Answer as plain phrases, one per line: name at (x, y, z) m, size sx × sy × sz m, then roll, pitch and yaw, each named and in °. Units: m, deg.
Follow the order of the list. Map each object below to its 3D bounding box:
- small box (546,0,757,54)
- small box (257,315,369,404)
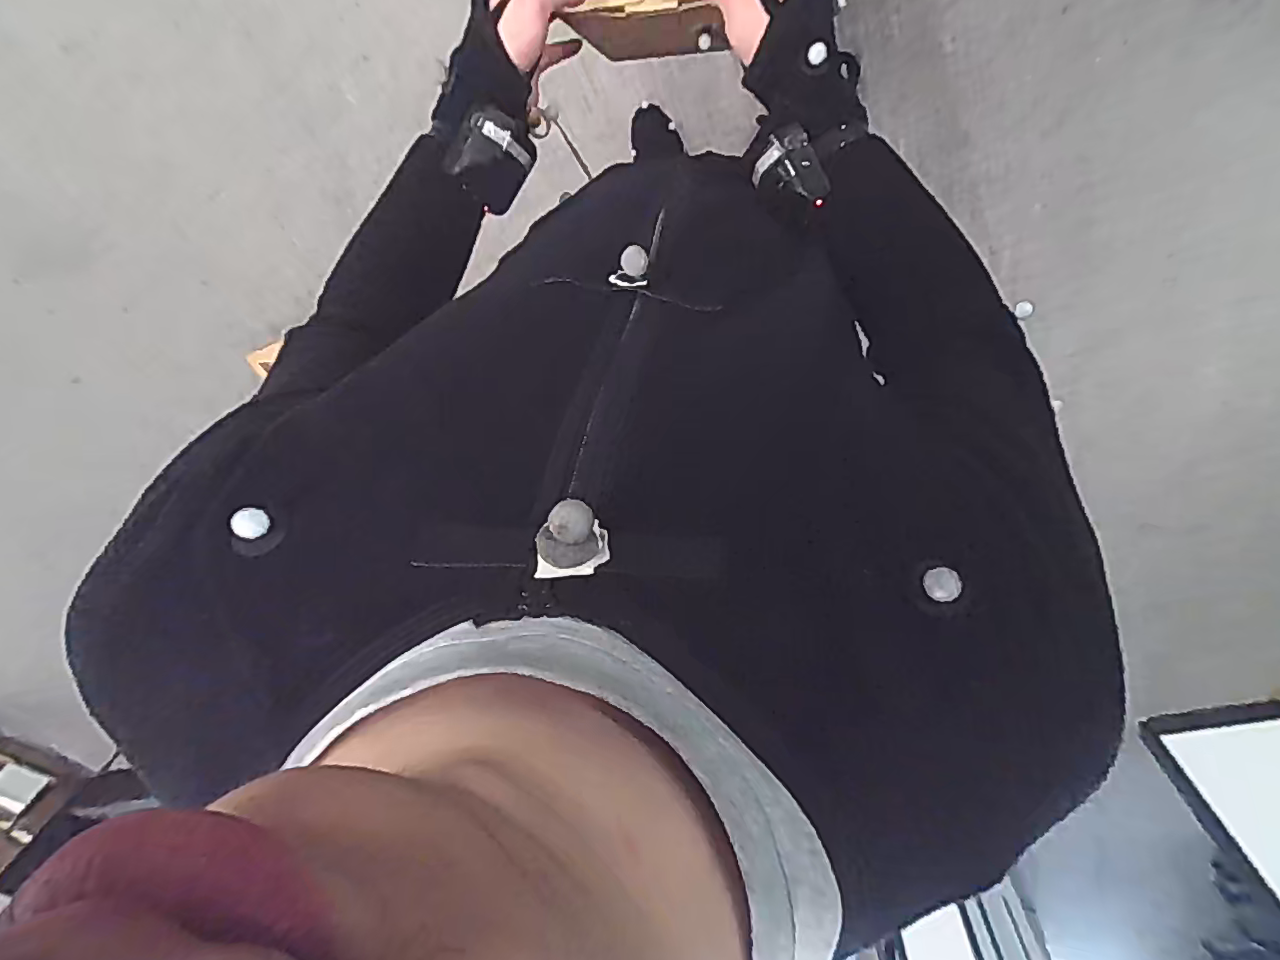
small box at (0.017, -0.498, 0.469) m, size 0.168 × 0.176 × 0.179 m, roll 4°, pitch 116°, yaw 13°
small box at (-0.920, -0.345, 1.539) m, size 0.179 × 0.176 × 0.168 m, roll -16°, pitch 122°, yaw 16°
